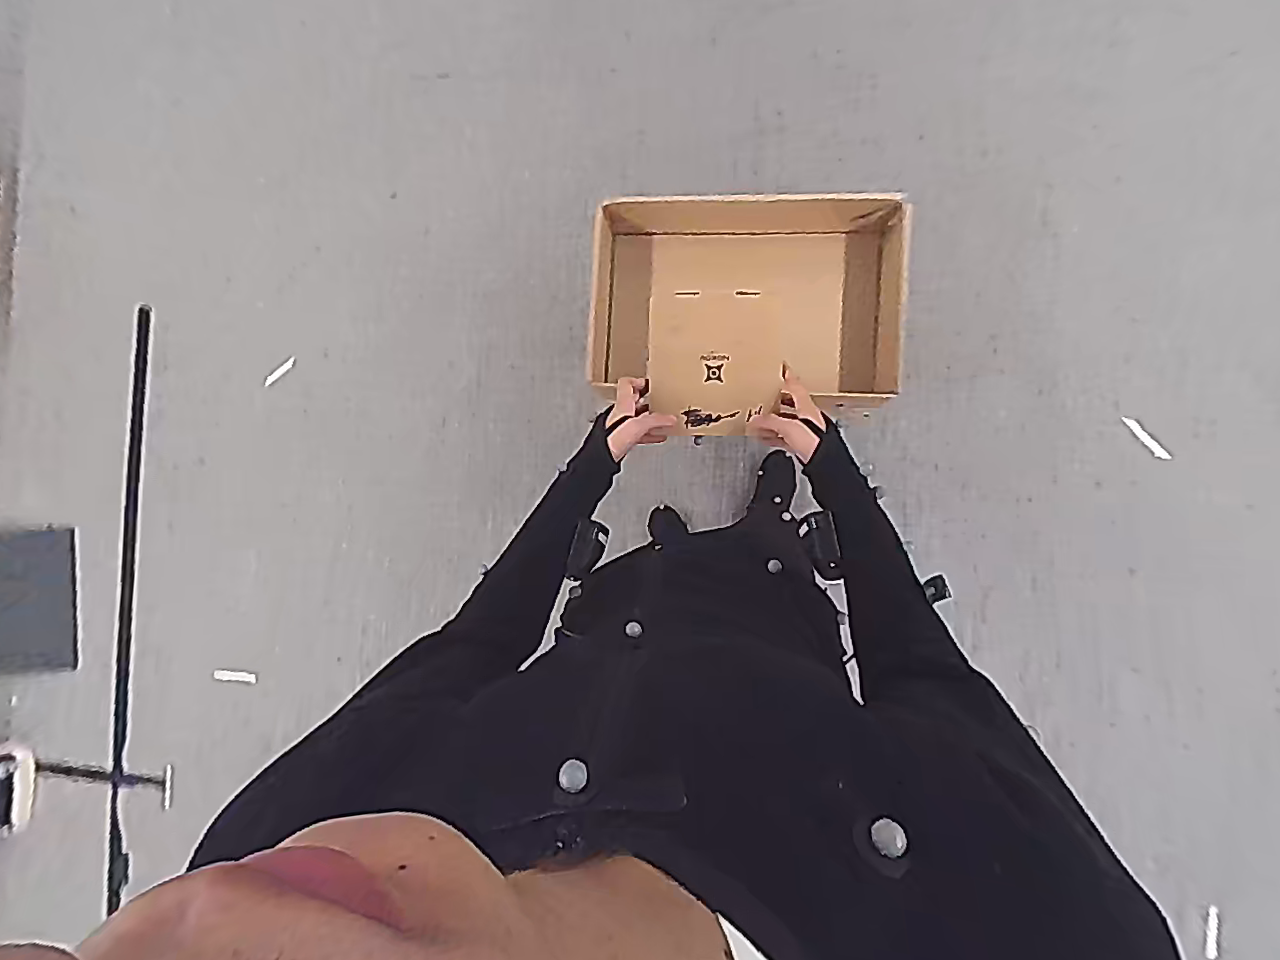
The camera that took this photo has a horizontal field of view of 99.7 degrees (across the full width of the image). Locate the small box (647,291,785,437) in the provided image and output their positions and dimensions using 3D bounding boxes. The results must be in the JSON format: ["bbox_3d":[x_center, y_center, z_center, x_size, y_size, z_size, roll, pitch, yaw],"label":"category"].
[{"bbox_3d":[0.098,-0.155,0.743,0.168,0.176,0.179,1,100,5],"label":"small box"}]
